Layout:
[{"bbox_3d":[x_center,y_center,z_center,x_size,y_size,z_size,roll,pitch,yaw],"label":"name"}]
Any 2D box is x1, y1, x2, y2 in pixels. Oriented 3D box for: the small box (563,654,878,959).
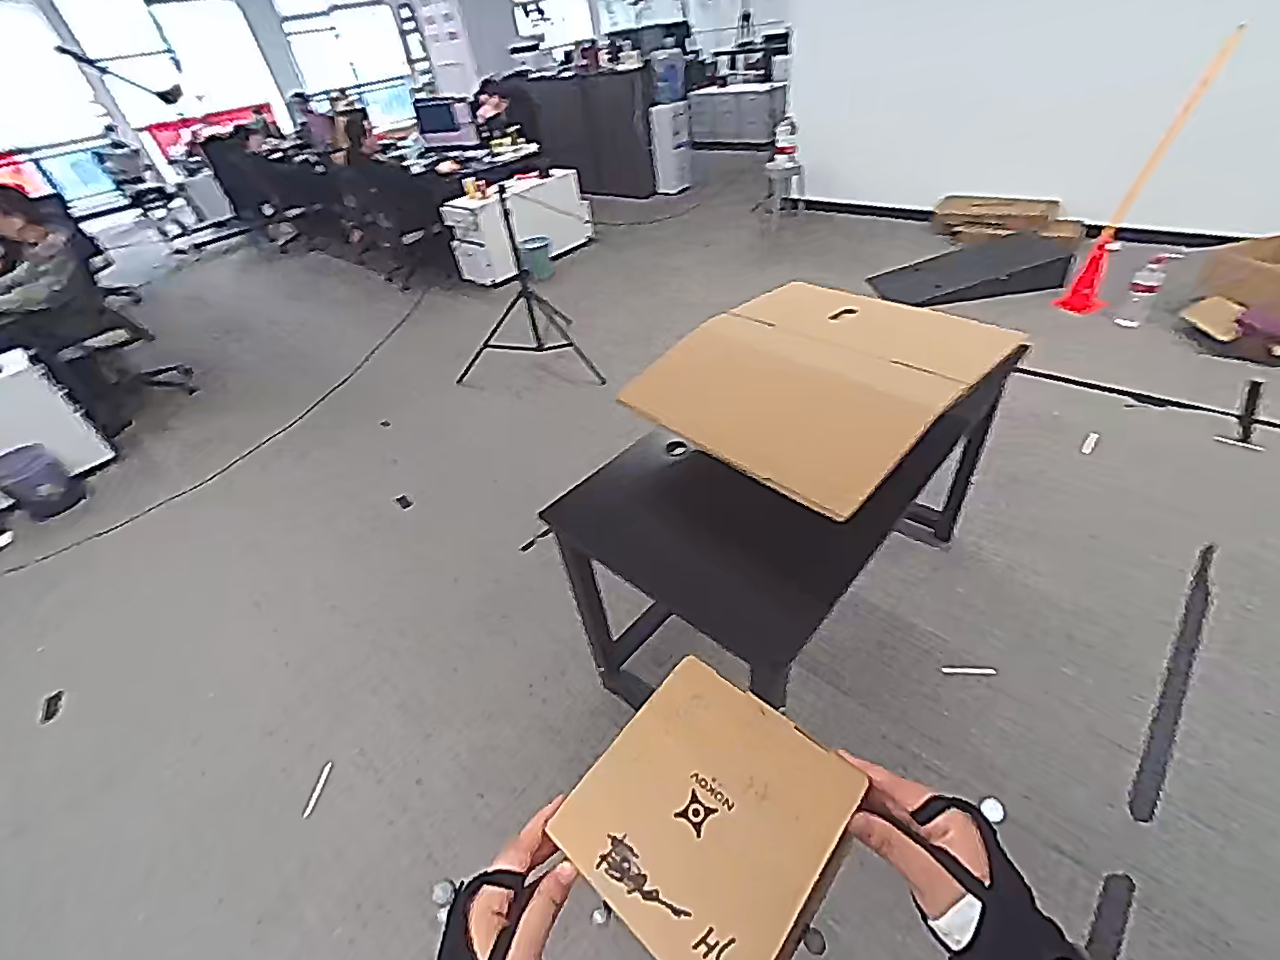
[{"bbox_3d":[0.068,0.290,0.444,0.168,0.176,0.179,25,53,37],"label":"small box"}]
